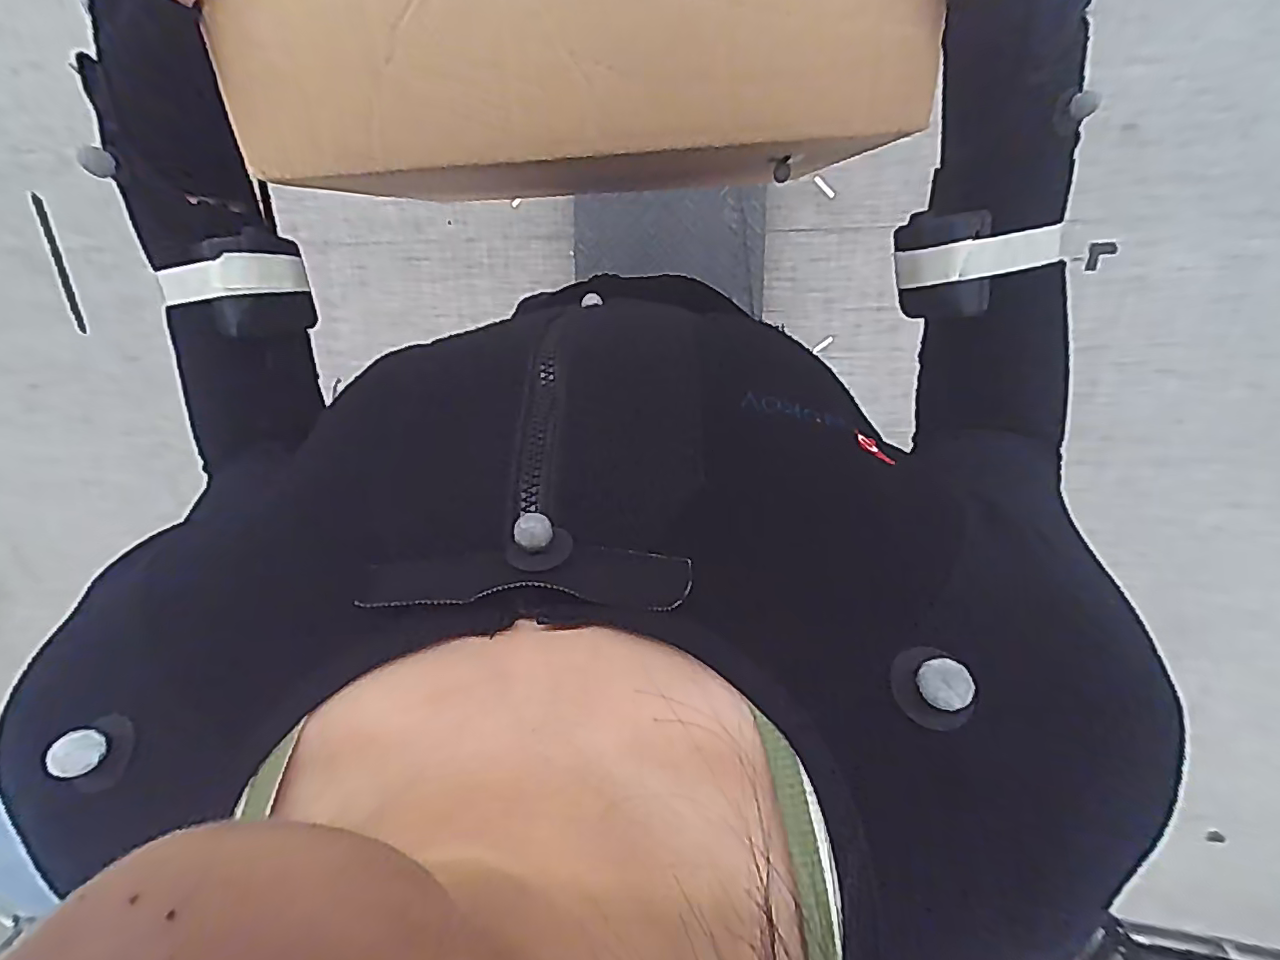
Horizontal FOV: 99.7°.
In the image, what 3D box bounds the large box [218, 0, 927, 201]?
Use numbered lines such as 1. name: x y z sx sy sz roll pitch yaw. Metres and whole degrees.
1. large box: -0.039 -0.400 0.406 0.408 0.320 0.320 -3 114 3
